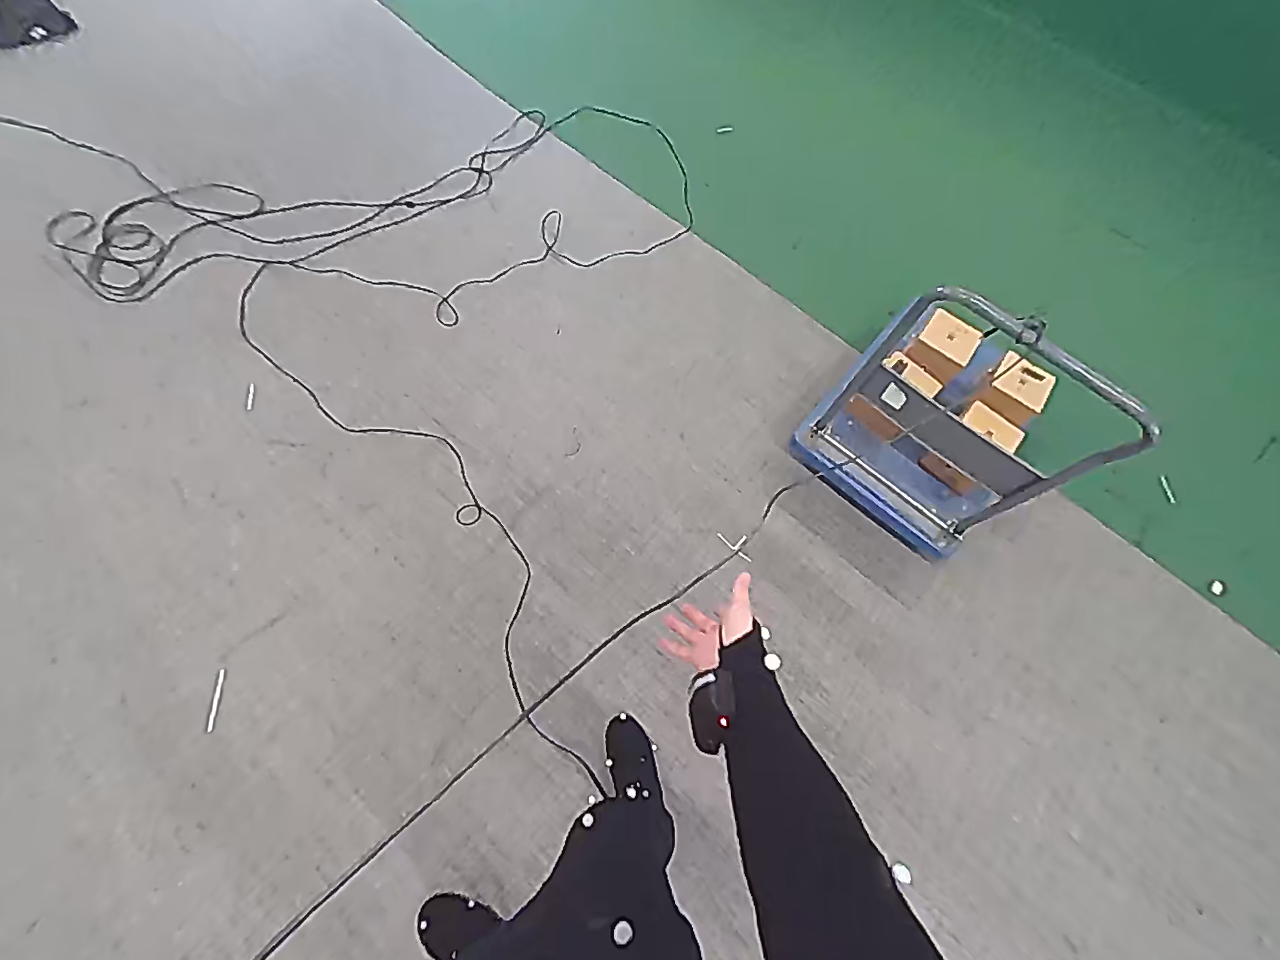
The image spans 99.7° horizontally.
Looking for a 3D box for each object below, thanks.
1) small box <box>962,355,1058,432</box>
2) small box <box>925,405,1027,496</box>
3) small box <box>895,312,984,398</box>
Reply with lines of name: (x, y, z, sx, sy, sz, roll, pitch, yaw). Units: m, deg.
small box: (1.173, -0.258, 1.727, 0.168, 0.176, 0.179, 36, 66, 11)
small box: (0.996, -0.085, 1.619, 0.168, 0.176, 0.179, 41, 66, 13)
small box: (0.974, -0.404, 1.774, 0.168, 0.176, 0.179, 37, 65, 10)
